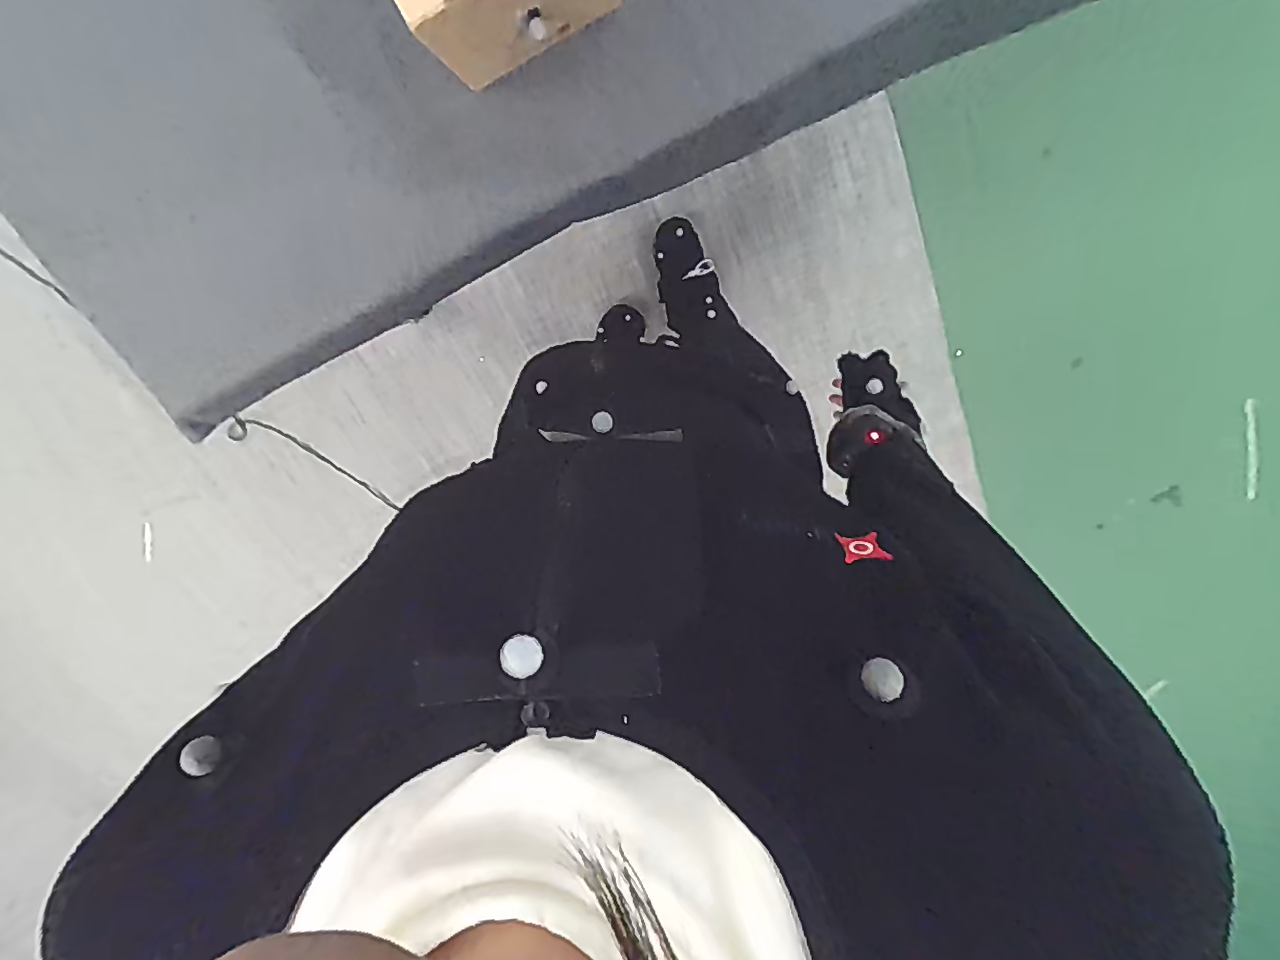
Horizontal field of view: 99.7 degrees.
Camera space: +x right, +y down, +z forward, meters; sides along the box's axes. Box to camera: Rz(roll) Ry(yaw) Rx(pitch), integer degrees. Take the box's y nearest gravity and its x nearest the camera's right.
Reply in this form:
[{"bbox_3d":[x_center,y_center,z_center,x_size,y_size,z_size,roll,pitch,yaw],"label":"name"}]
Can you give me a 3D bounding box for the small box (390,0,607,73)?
[{"bbox_3d":[-0.129,-0.455,0.415,0.168,0.176,0.179,-25,111,11],"label":"small box"}]
